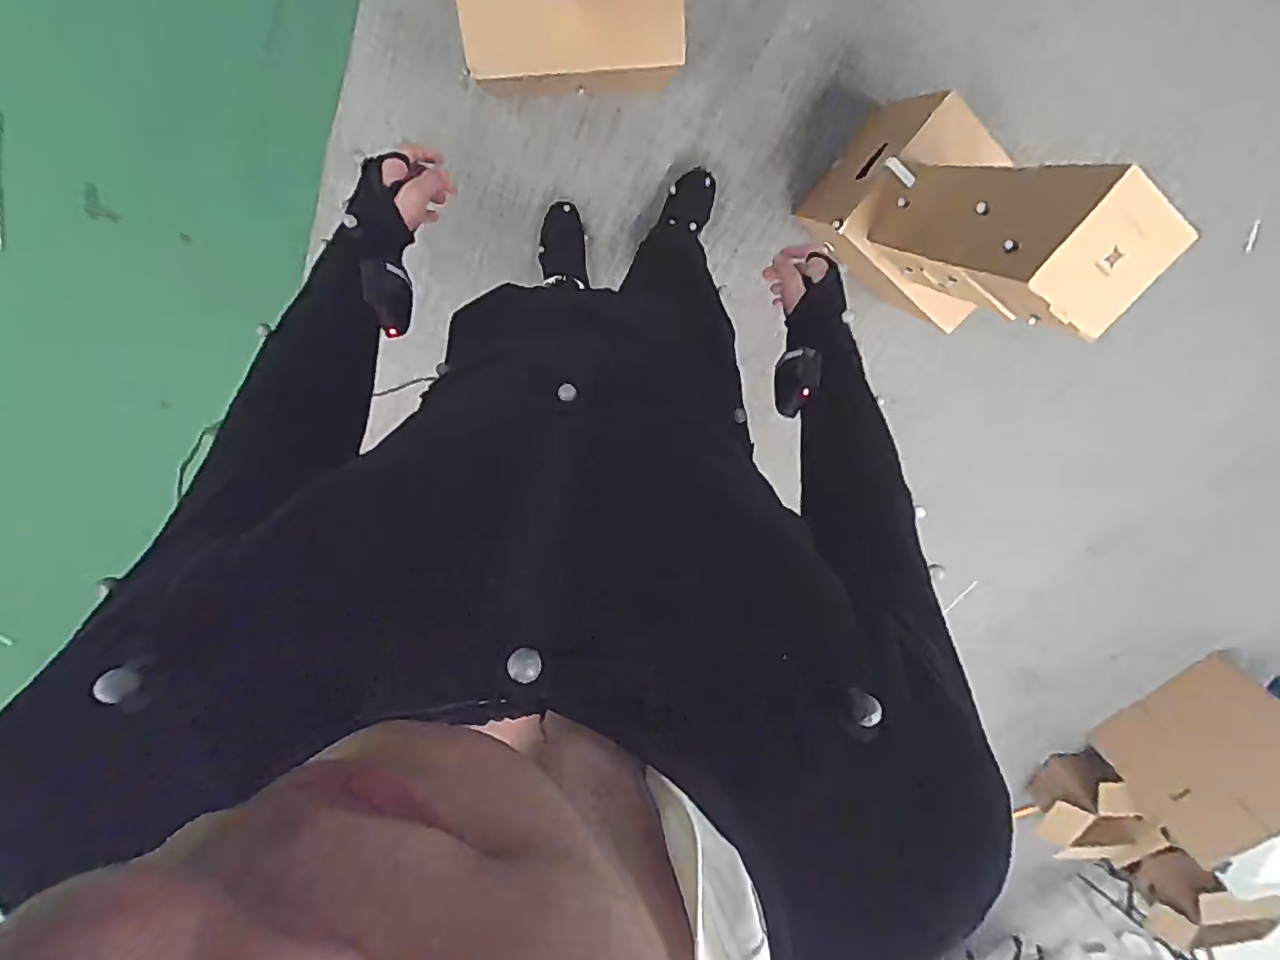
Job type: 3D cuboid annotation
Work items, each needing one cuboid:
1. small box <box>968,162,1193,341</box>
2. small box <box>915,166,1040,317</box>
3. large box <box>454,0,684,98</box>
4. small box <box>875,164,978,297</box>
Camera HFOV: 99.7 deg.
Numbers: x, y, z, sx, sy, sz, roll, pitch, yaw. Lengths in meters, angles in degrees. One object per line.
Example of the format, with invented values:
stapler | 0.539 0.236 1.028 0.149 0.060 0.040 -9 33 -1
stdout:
small box | 0.639 -0.345 0.815 0.168 0.176 0.179 27 114 -20
small box | 0.624 -0.423 0.958 0.168 0.176 0.179 28 114 -20
large box | -0.136 -0.955 1.046 0.408 0.320 0.320 -6 119 -1
small box | 0.609 -0.508 1.096 0.168 0.176 0.179 28 115 -20
